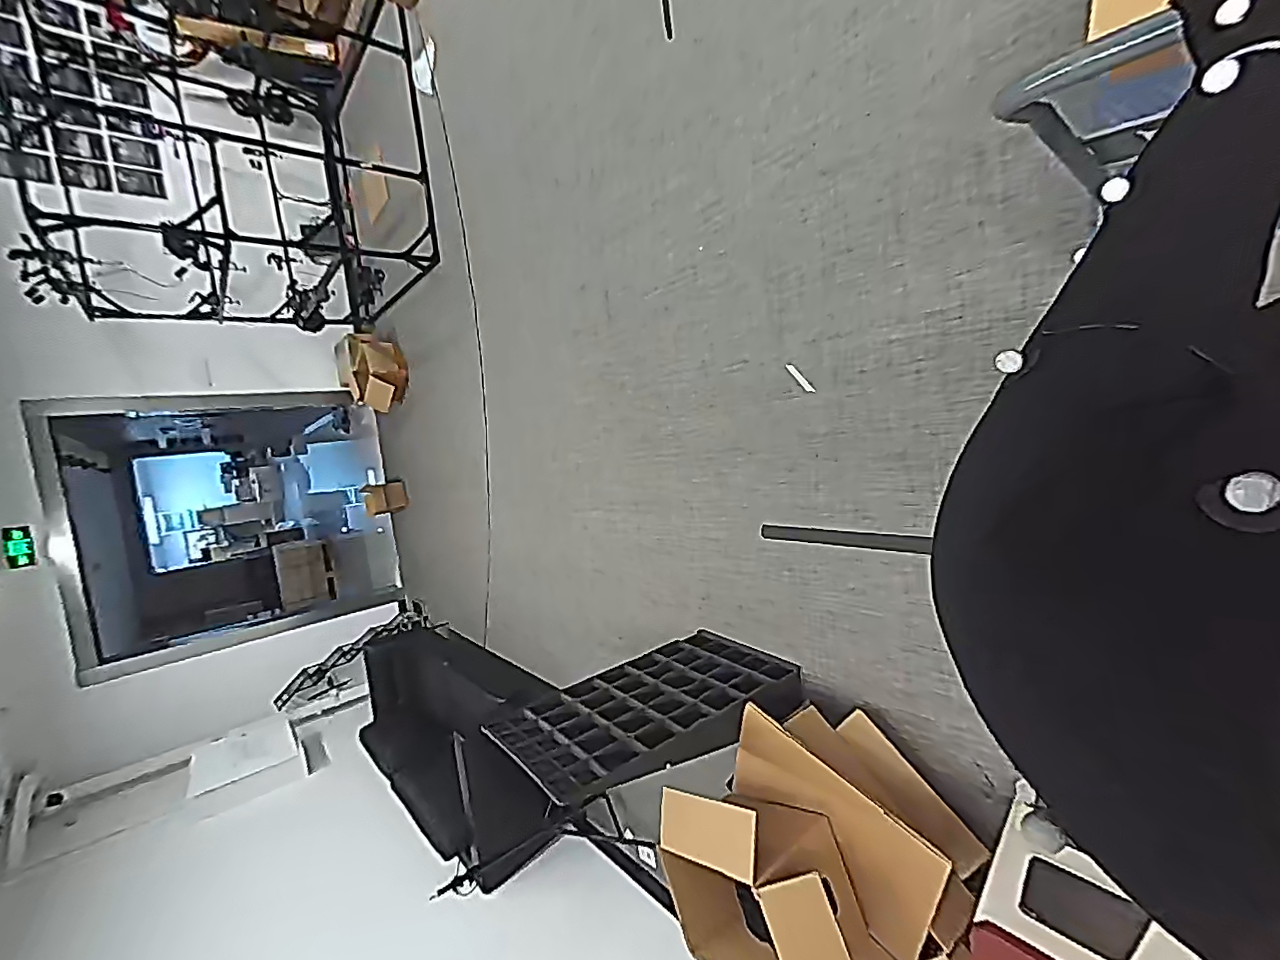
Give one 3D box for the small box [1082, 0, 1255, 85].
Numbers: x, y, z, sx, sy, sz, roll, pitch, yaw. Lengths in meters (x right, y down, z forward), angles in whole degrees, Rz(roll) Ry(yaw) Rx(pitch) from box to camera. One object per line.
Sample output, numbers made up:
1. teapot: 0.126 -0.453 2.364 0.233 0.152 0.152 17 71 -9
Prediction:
1. small box: 0.824 -0.756 0.837 0.179 0.176 0.168 11 106 48
